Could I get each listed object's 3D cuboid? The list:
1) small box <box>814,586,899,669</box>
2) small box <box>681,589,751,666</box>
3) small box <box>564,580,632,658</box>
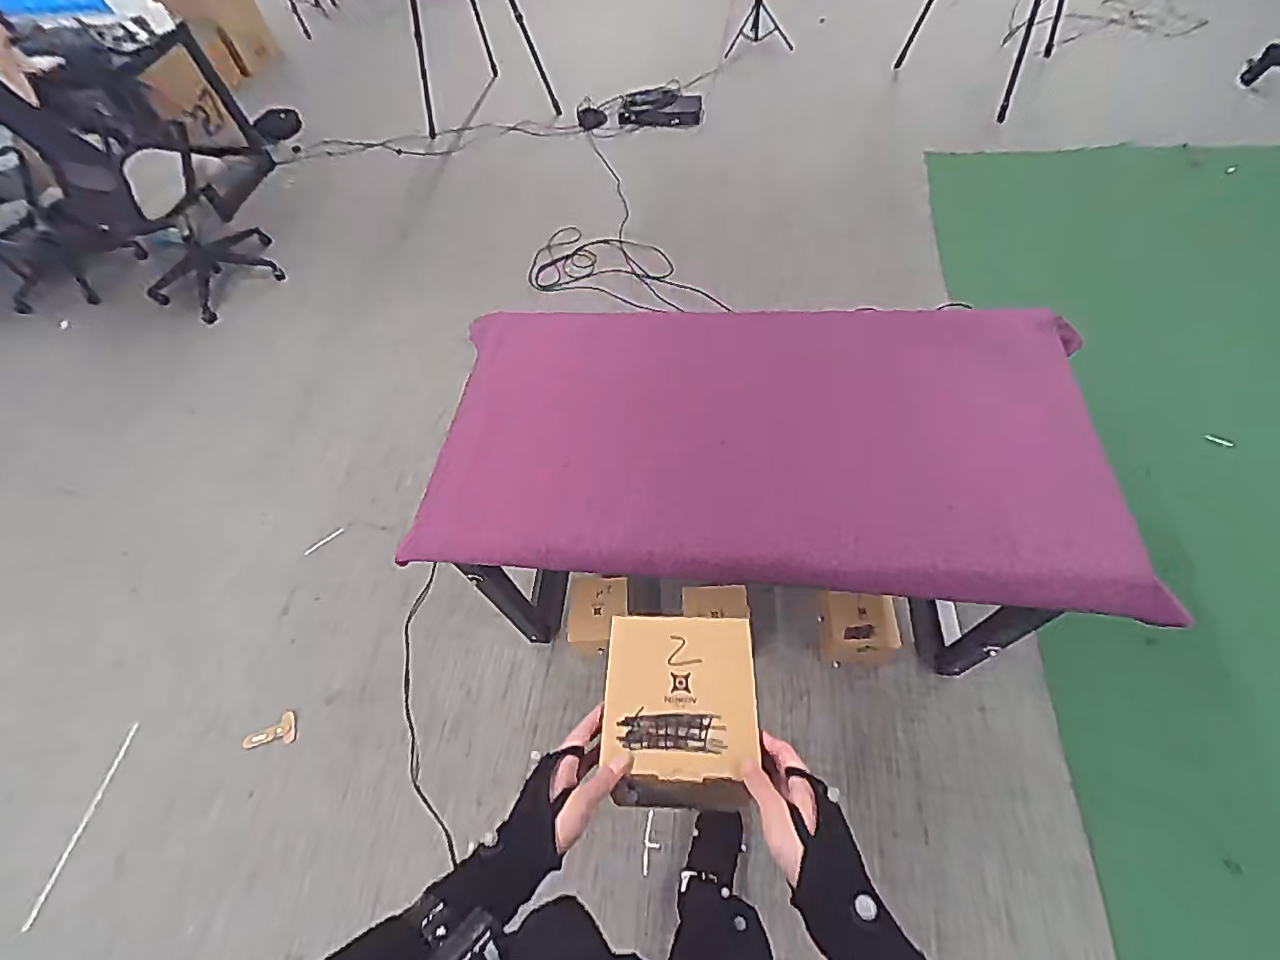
[{"bbox_3d":[0.569,0.397,1.443,0.168,0.176,0.179,1,57,6],"label":"small box"},{"bbox_3d":[0.202,0.406,1.480,0.179,0.176,0.168,-3,56,5],"label":"small box"},{"bbox_3d":[-0.113,0.397,1.520,0.168,0.176,0.179,-4,57,4],"label":"small box"}]
